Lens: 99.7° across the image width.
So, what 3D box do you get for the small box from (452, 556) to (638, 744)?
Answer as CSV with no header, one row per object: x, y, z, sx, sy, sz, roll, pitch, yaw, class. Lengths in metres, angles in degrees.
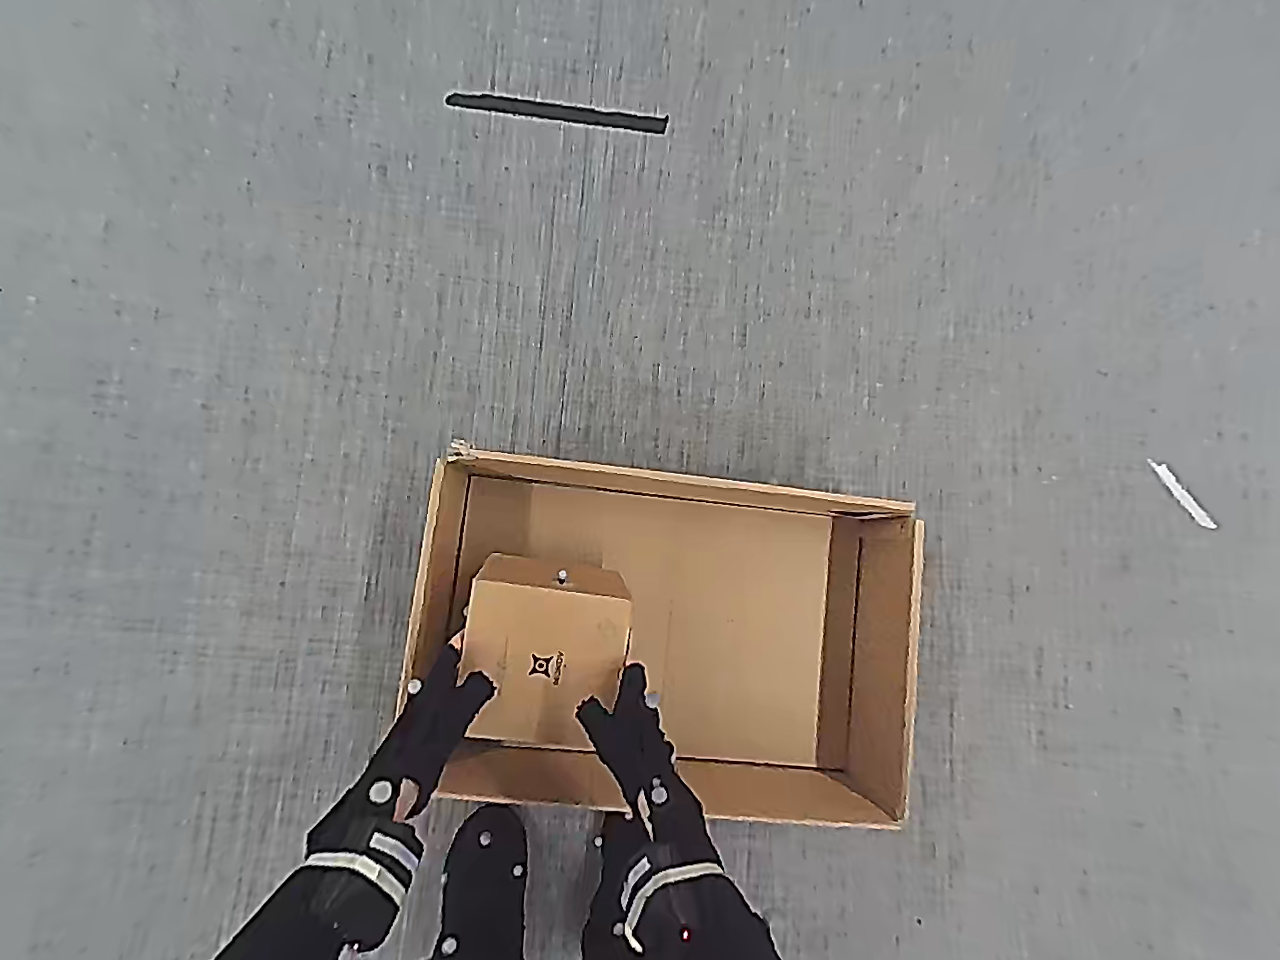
-0.112,0.194,0.656,0.179,0.176,0.168,9,90,-9,small box
